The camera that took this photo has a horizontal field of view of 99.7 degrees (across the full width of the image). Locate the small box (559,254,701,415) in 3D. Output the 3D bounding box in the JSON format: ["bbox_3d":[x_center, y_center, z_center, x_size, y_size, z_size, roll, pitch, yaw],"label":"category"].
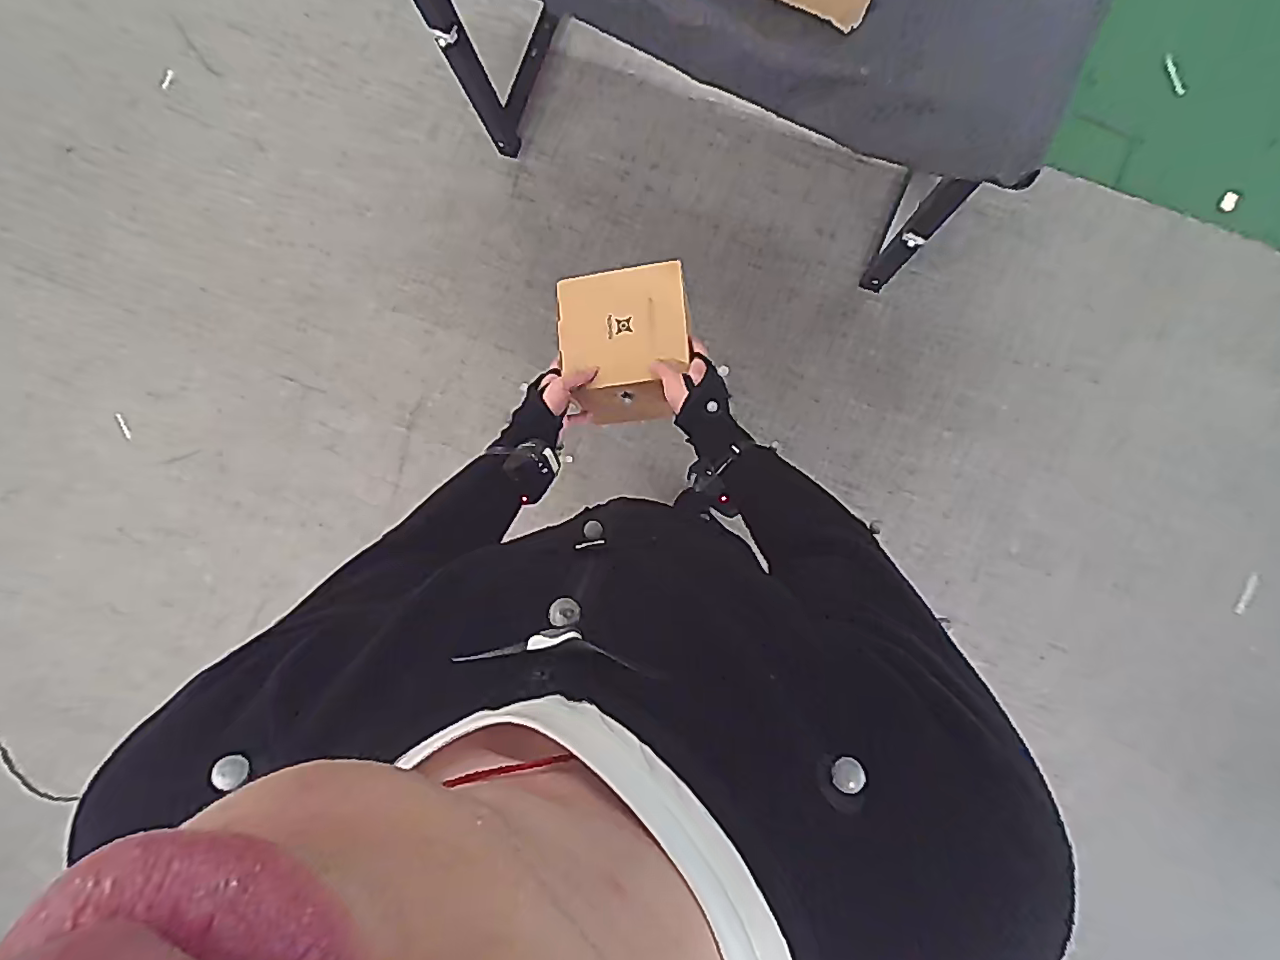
[{"bbox_3d":[-0.008,-0.202,0.801,0.179,0.176,0.168,-7,80,8],"label":"small box"}]
